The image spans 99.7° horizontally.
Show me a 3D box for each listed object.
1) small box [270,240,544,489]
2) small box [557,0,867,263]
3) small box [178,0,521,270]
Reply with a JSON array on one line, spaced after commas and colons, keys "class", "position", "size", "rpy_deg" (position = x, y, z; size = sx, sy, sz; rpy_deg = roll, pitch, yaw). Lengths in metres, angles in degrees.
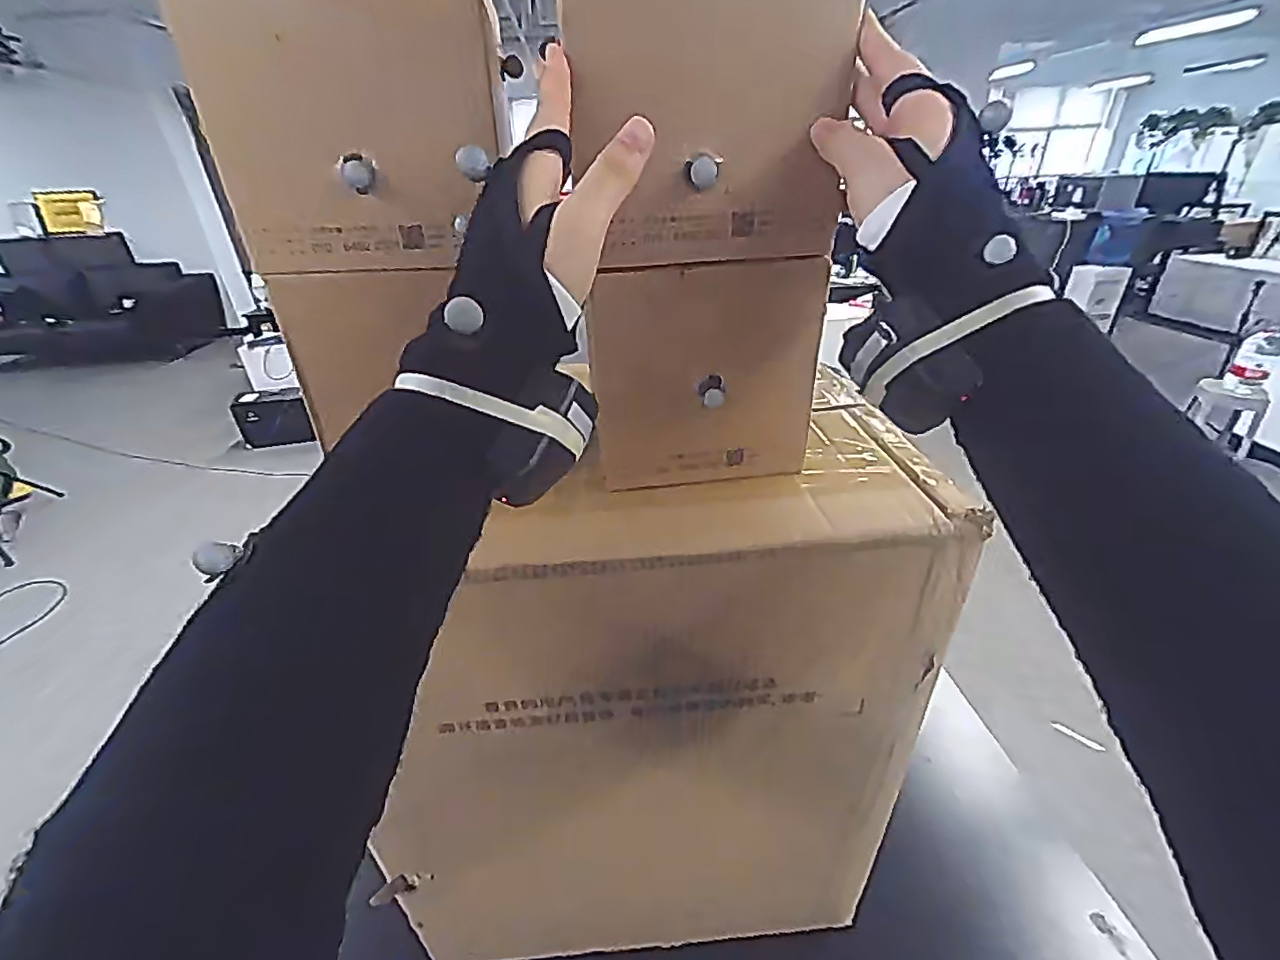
[{"class": "small box", "position": [-0.176, -0.110, 0.474], "size": [0.168, 0.176, 0.179], "rpy_deg": [-6, 32, -9]}, {"class": "small box", "position": [0.032, -0.250, 0.374], "size": [0.168, 0.176, 0.179], "rpy_deg": [-5, 31, -4]}, {"class": "small box", "position": [-0.180, -0.252, 0.389], "size": [0.168, 0.176, 0.179], "rpy_deg": [-5, 31, -7]}]
